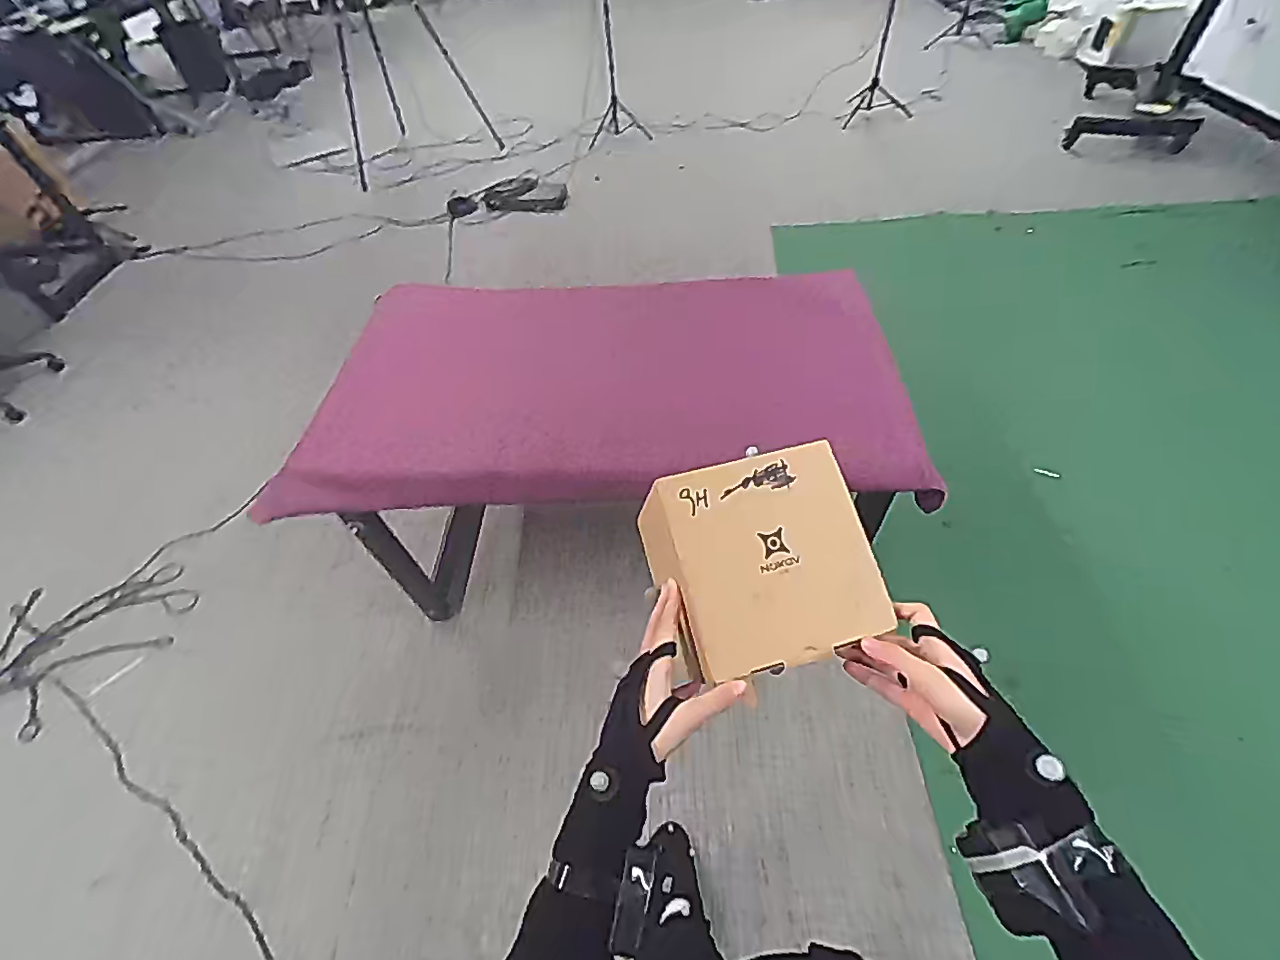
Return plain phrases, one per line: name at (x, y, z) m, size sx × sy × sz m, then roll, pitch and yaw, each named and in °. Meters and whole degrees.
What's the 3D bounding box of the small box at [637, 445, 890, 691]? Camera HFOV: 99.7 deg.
small box at (0.100, 0.086, 0.528) m, size 0.168 × 0.176 × 0.179 m, roll -13°, pitch 76°, yaw -9°
